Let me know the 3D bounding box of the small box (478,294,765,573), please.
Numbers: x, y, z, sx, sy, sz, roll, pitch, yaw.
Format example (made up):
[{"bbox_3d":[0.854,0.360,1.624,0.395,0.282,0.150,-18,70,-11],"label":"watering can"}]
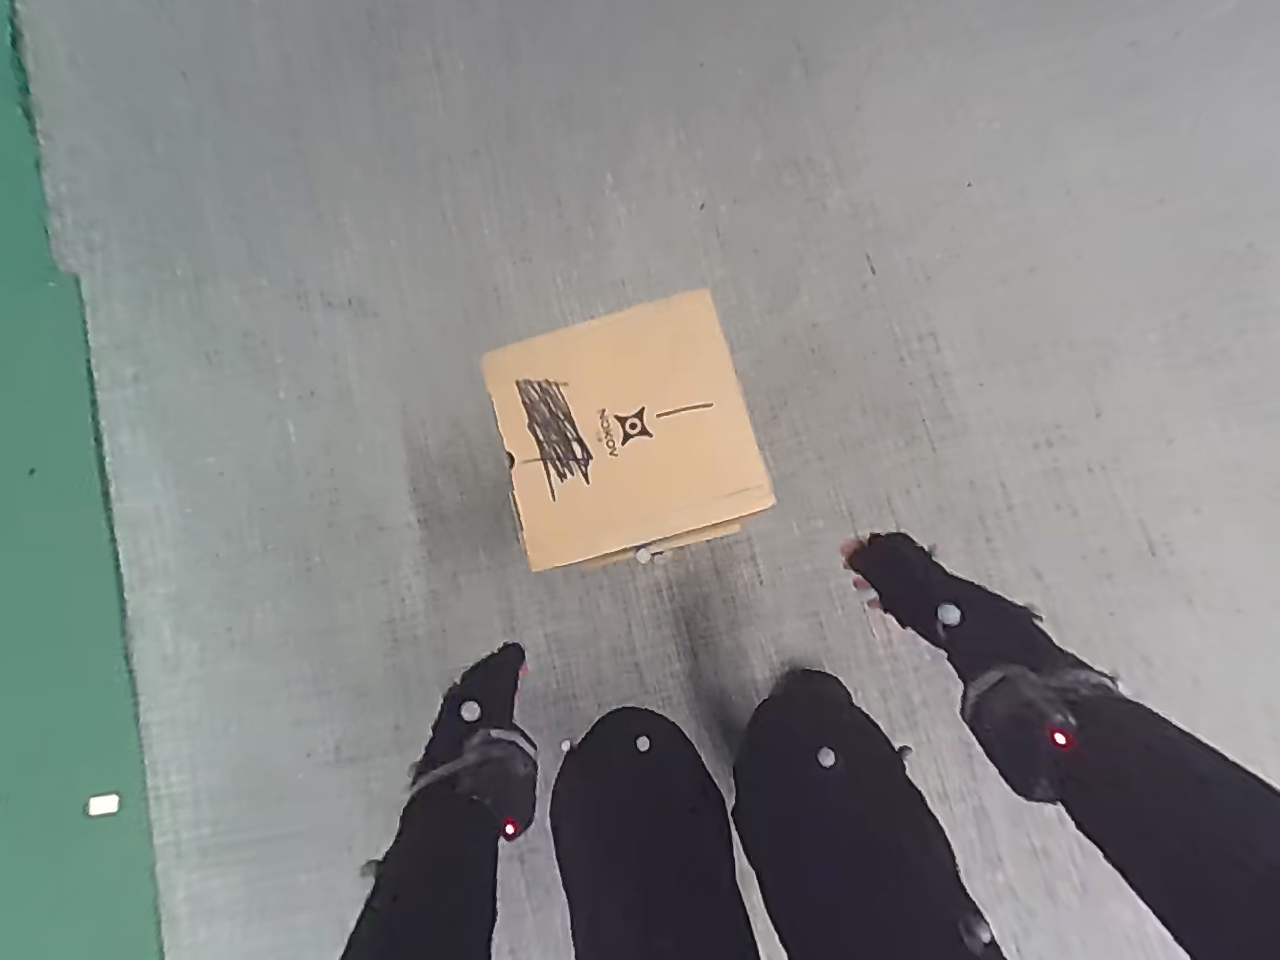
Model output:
[{"bbox_3d":[-0.008,-0.023,0.456,0.179,0.176,0.168,-16,82,4],"label":"small box"}]
